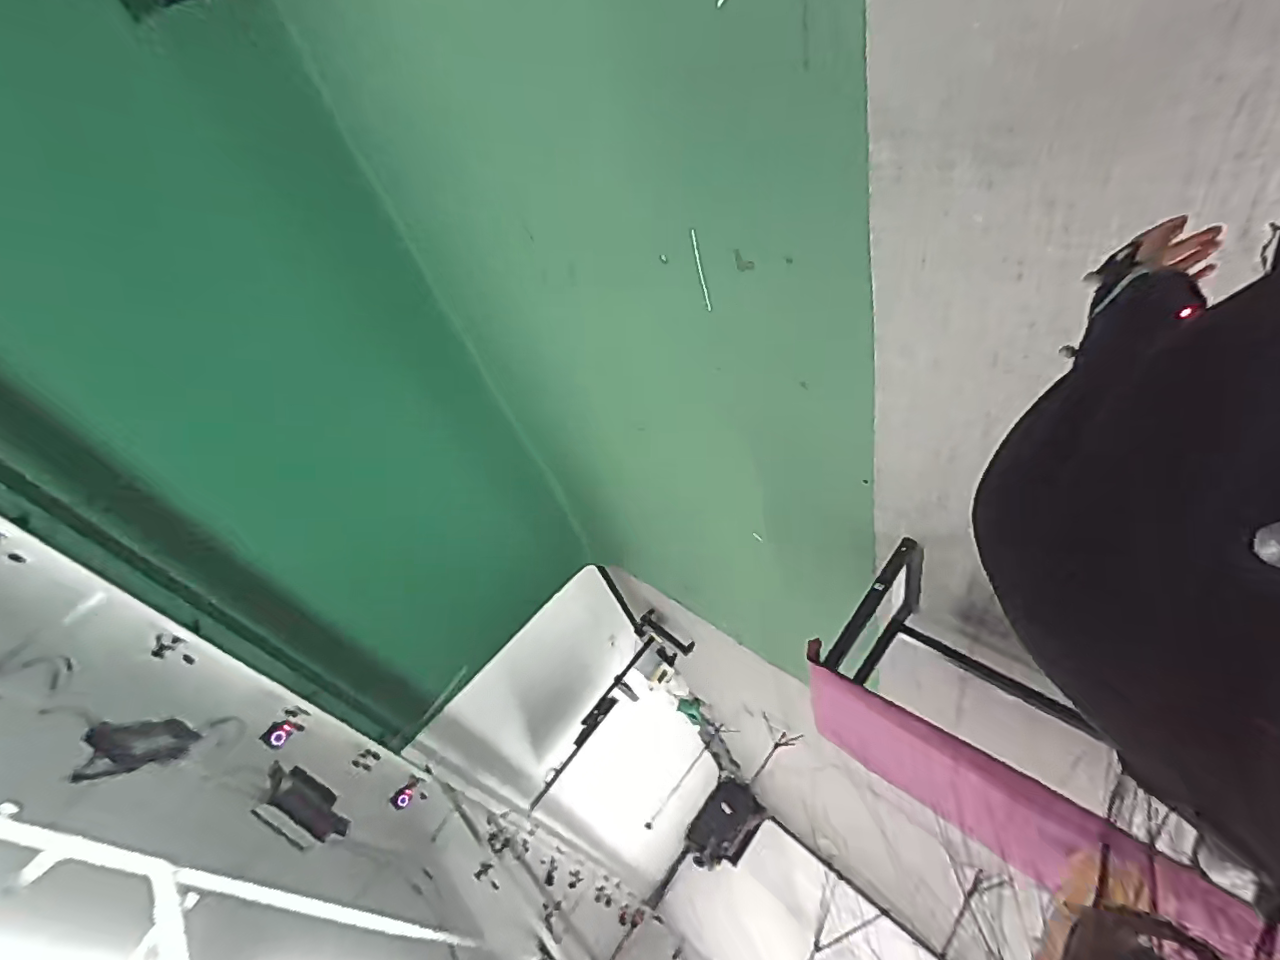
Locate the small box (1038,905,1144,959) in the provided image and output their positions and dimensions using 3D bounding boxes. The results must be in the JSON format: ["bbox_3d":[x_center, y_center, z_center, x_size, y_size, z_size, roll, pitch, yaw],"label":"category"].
[{"bbox_3d":[1.120,1.217,1.351,0.168,0.176,0.179,22,149,42],"label":"small box"}]
